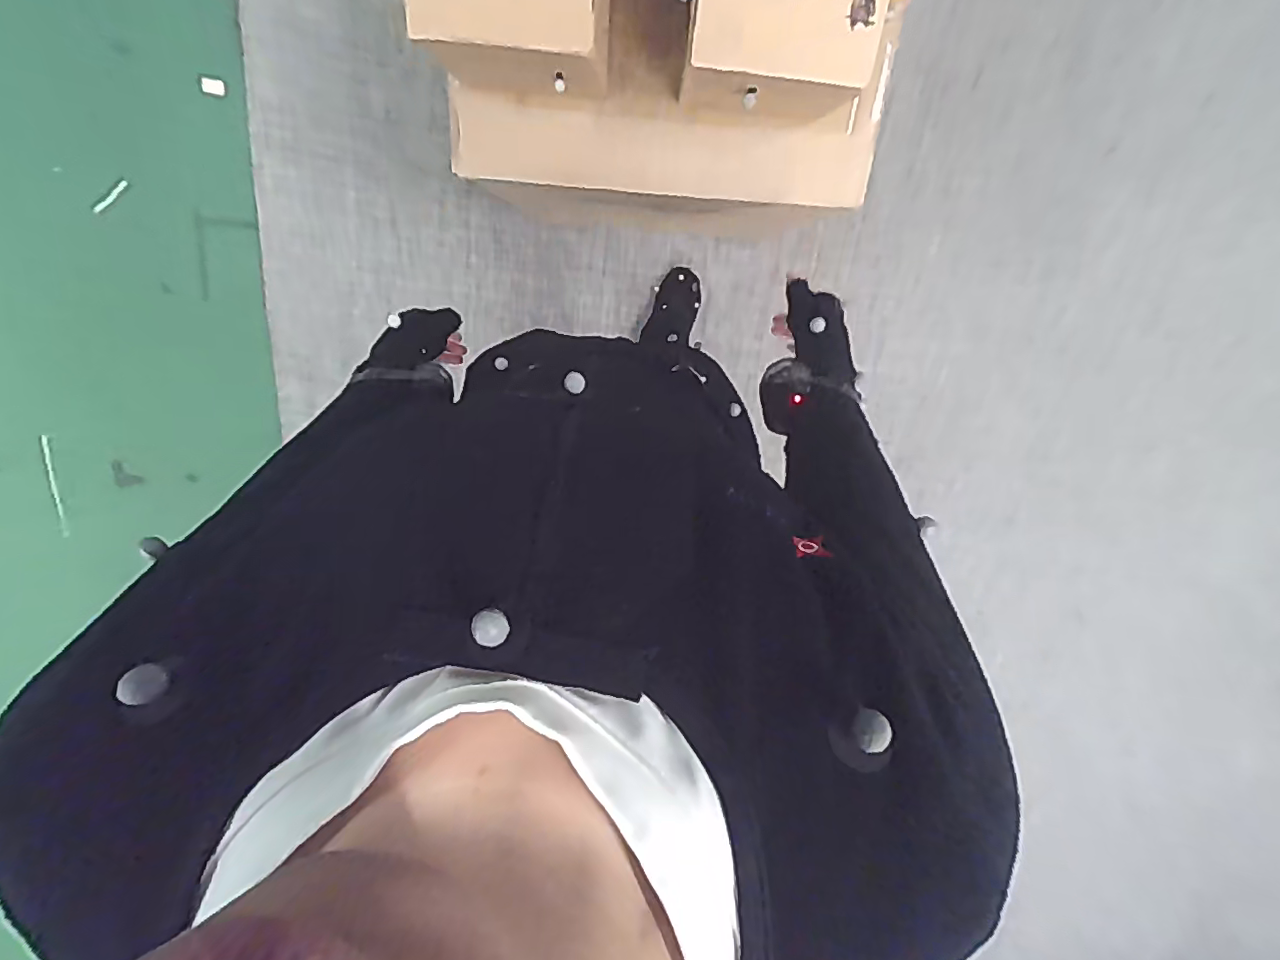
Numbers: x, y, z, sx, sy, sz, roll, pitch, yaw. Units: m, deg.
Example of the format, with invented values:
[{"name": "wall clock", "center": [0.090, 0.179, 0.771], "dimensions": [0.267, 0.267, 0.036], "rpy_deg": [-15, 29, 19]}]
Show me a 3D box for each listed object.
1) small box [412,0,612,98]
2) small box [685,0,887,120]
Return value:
[{"name": "small box", "center": [-0.118, -0.513, 0.553], "dimensions": [0.179, 0.176, 0.168], "rpy_deg": [5, 112, 0]}, {"name": "small box", "center": [0.143, -0.490, 0.556], "dimensions": [0.179, 0.176, 0.168], "rpy_deg": [6, 114, -1]}]
